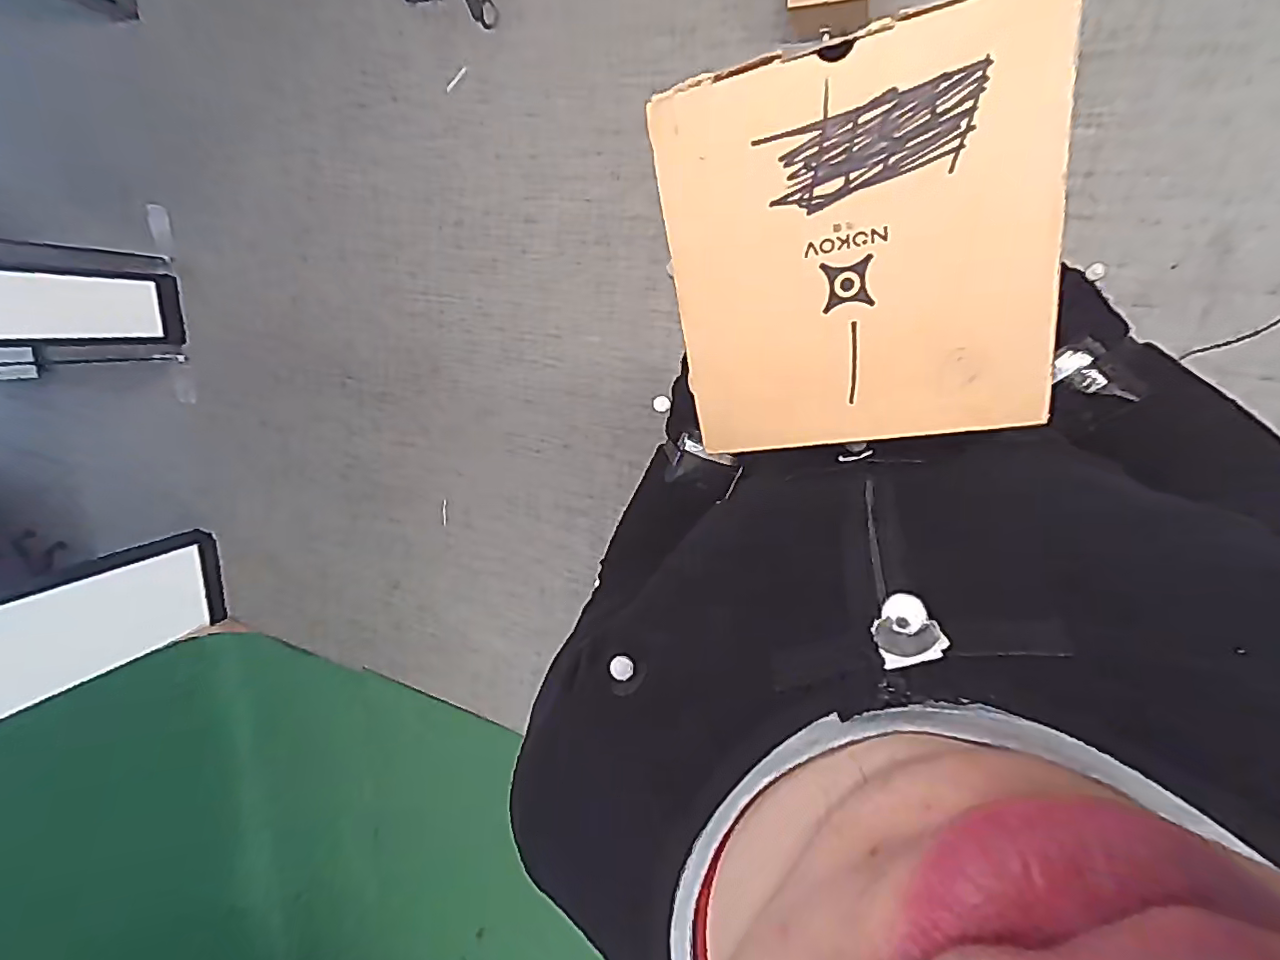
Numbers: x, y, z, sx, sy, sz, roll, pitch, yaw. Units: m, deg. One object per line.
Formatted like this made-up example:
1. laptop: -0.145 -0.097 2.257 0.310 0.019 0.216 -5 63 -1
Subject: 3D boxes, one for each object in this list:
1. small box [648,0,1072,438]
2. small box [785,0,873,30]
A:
1. small box: 0.116 -0.140 0.318 0.168 0.176 0.179 -4 113 20
2. small box: 0.418 -1.093 1.166 0.168 0.176 0.179 10 109 22
